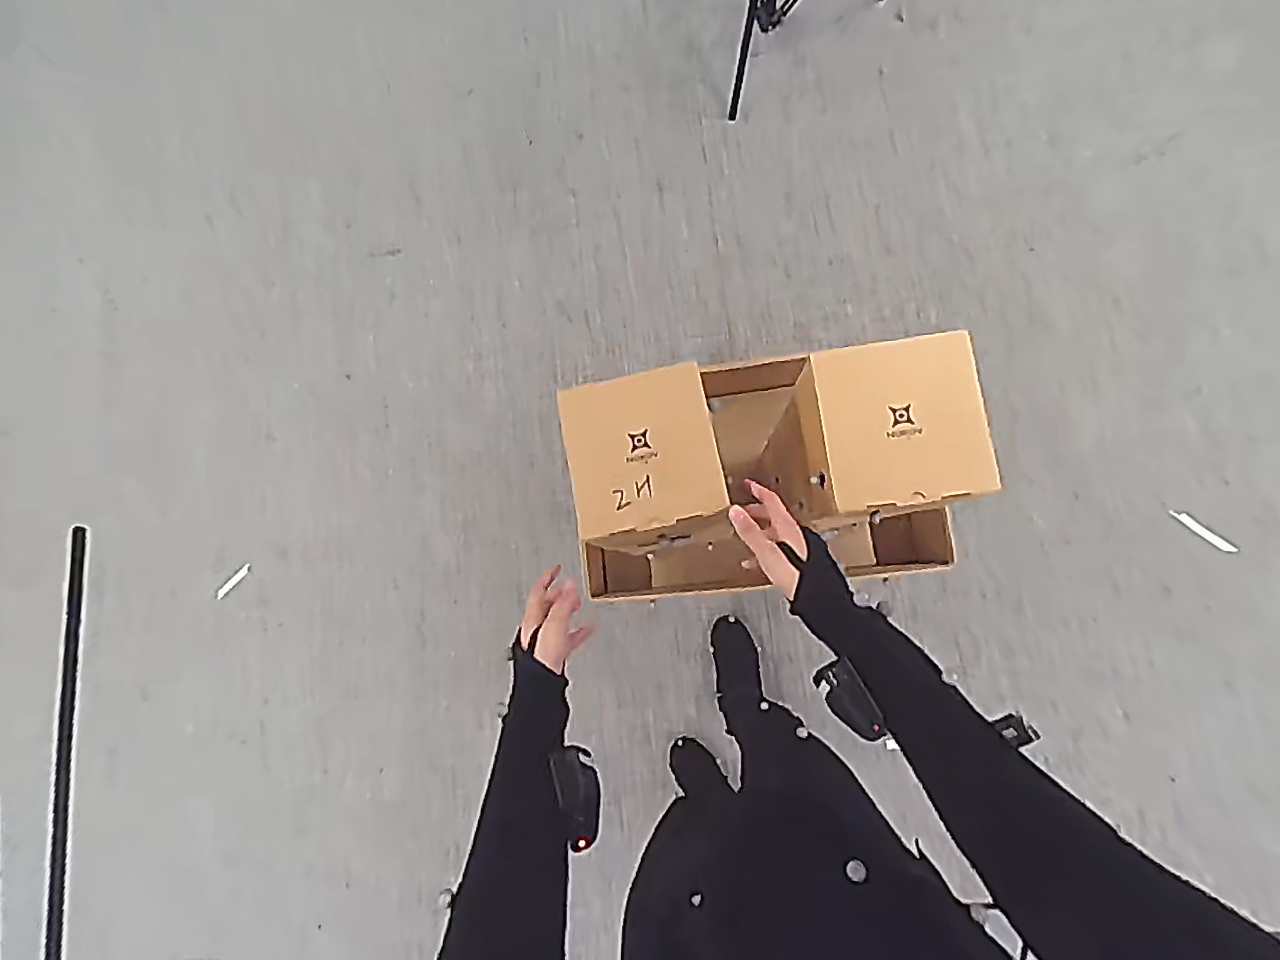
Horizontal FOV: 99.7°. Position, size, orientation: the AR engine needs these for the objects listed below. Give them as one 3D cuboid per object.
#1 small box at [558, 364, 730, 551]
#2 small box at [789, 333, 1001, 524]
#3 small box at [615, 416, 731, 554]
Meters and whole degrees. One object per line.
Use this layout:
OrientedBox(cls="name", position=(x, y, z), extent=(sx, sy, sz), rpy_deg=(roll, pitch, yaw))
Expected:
OrientedBox(cls="small box", position=(0.009, -0.016, 0.667), extent=(0.168, 0.176, 0.179), rpy_deg=(-12, 79, 5))
OrientedBox(cls="small box", position=(0.280, -0.048, 0.638), extent=(0.168, 0.176, 0.179), rpy_deg=(-8, 82, 6))
OrientedBox(cls="small box", position=(0.043, 0.016, 0.826), extent=(0.168, 0.176, 0.179), rpy_deg=(-11, 78, 5))
